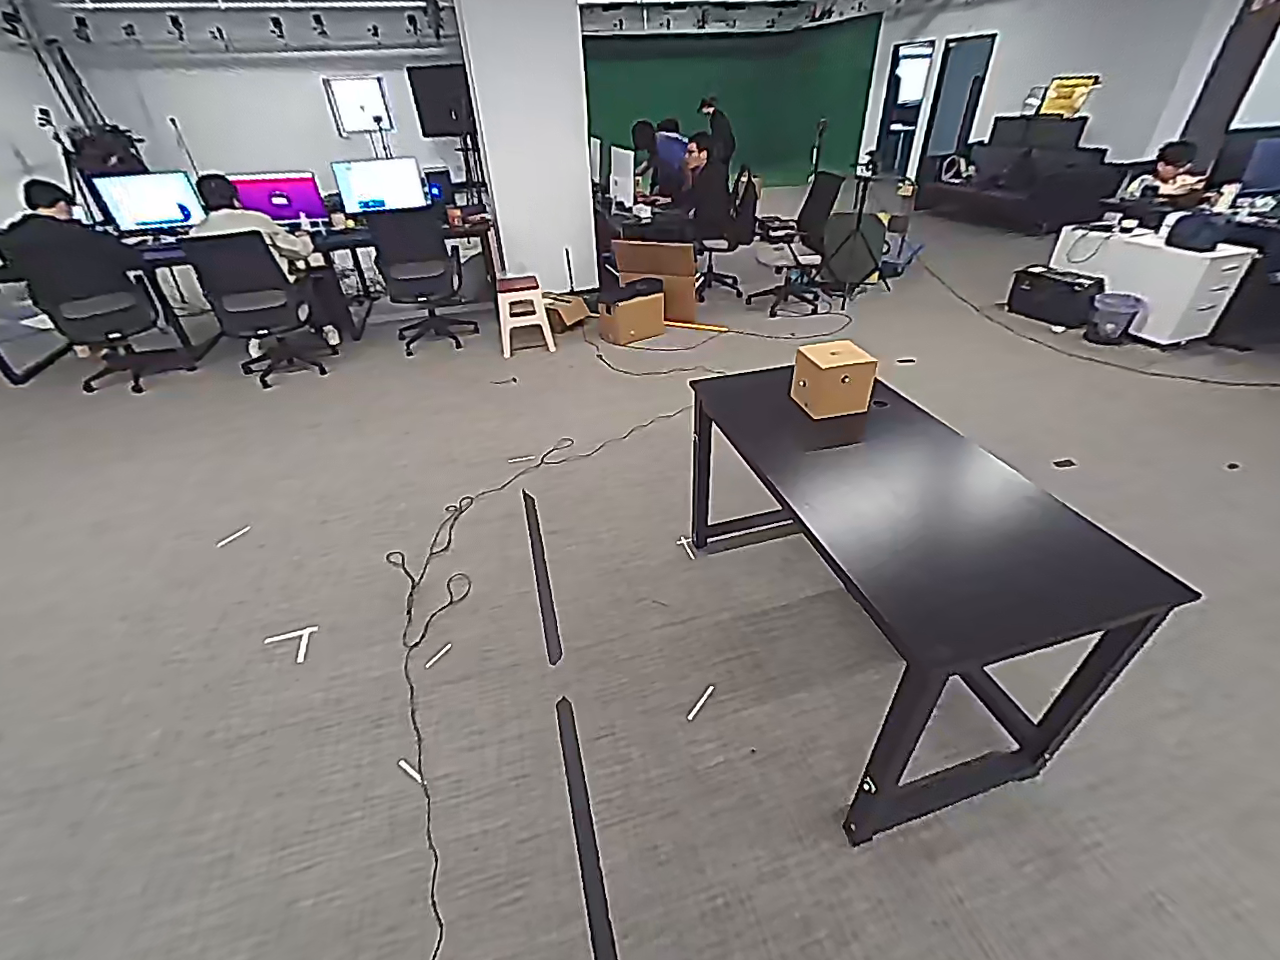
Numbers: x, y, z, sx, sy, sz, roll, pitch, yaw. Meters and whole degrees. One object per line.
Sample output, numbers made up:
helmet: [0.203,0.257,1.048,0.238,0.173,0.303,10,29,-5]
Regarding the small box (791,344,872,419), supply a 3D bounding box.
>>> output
small box: [0.573,-0.299,1.649,0.179,0.176,0.168,-10,36,-9]
